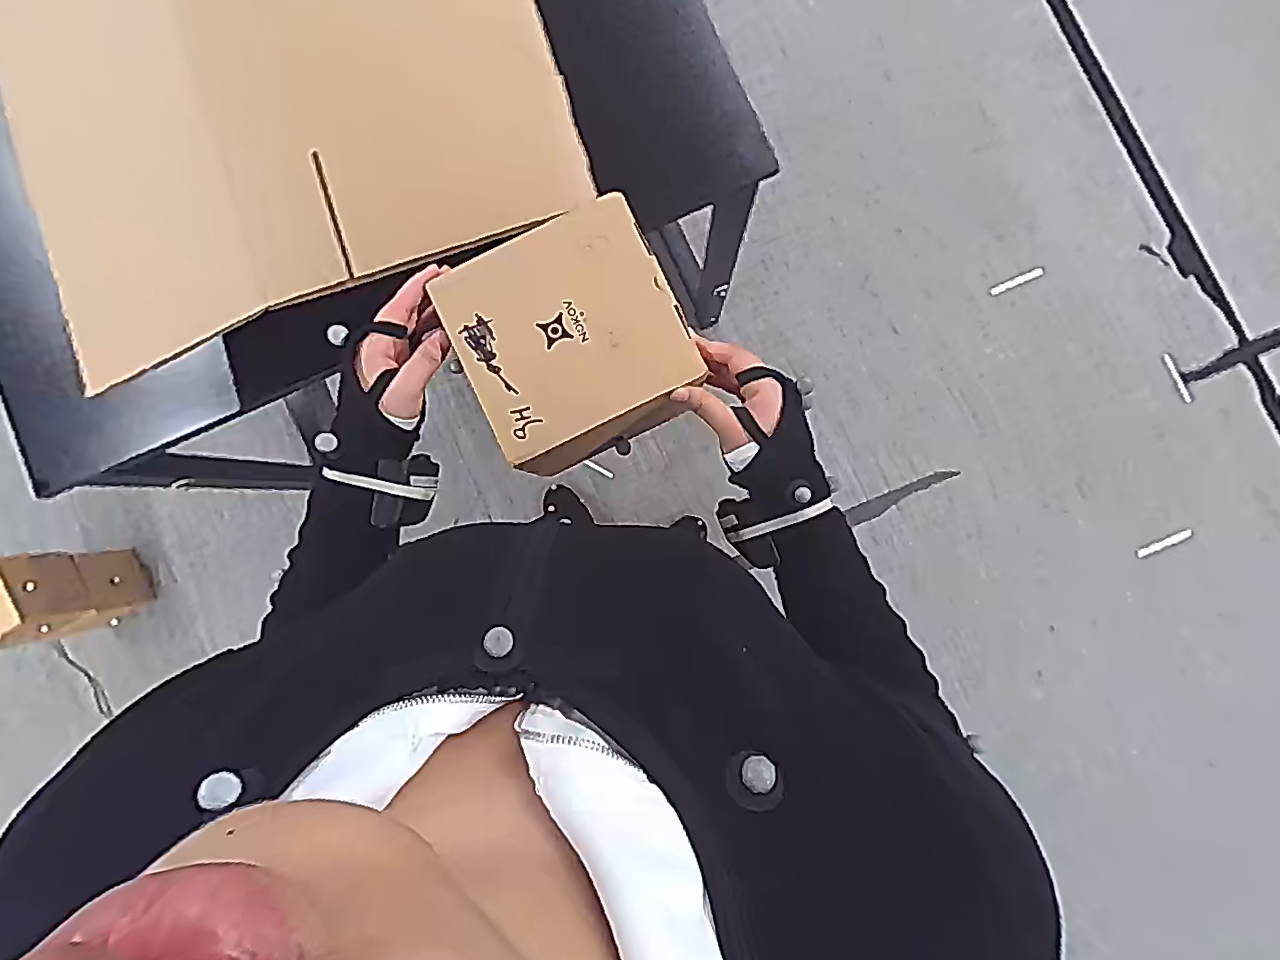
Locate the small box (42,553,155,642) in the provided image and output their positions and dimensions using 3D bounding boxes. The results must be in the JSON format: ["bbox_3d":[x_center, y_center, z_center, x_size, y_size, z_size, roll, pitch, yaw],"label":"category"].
[{"bbox_3d":[-1.494,0.308,1.470,0.168,0.176,0.179,-27,88,1],"label":"small box"}]

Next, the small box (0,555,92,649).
[{"bbox_3d":[-1.503,0.296,1.308,0.168,0.176,0.179,-30,86,0],"label":"small box"}]
